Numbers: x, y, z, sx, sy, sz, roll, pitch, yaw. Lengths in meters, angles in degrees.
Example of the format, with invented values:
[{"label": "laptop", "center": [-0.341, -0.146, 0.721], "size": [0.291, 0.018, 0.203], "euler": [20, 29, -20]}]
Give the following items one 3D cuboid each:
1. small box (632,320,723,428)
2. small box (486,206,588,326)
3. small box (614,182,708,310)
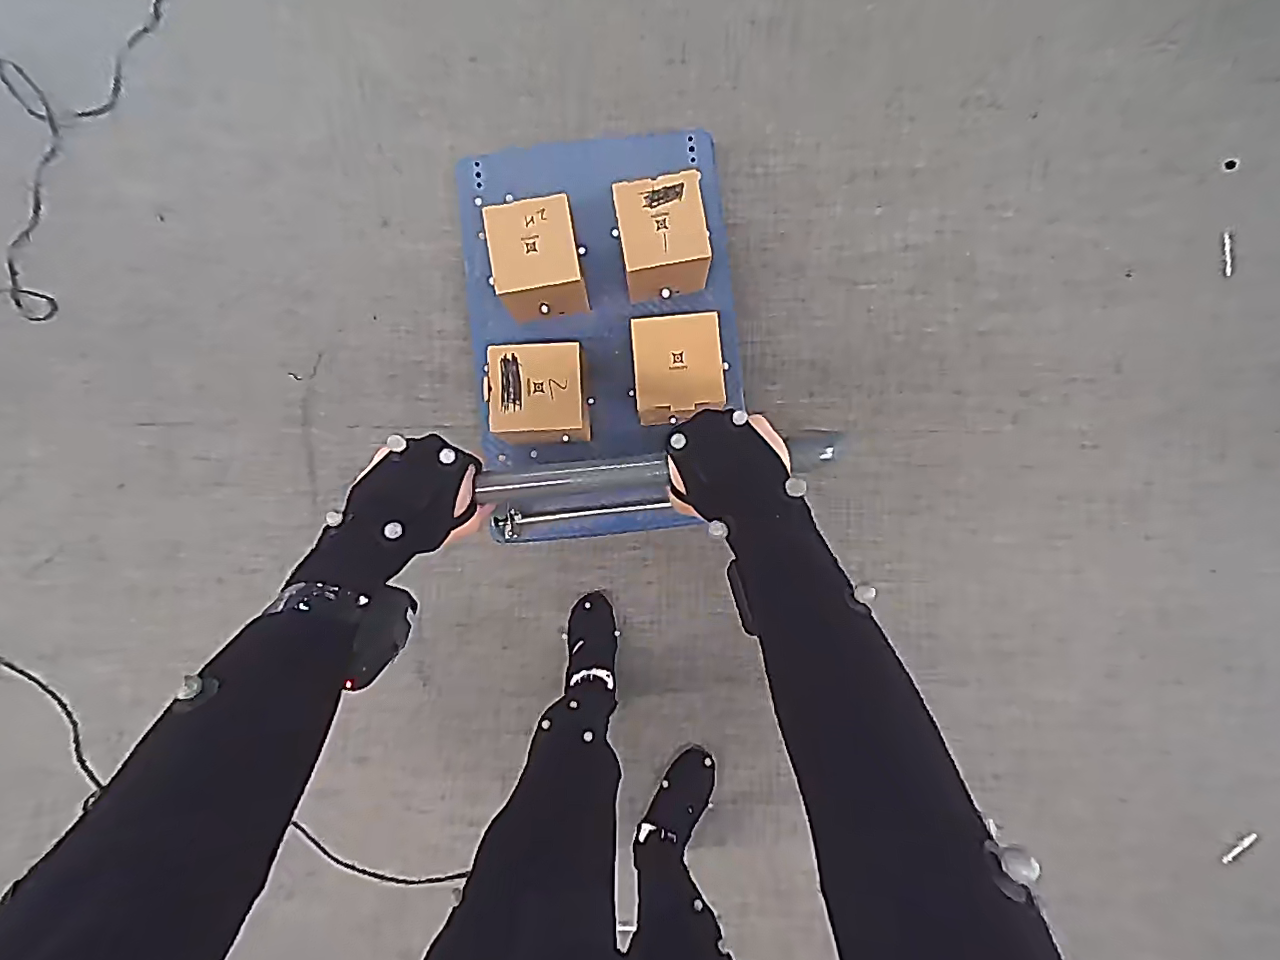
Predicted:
[{"label": "small box", "center": [0.071, -0.211, 1.112], "size": [0.168, 0.176, 0.179], "euler": [-5, 87, 0]}, {"label": "small box", "center": [-0.207, -0.434, 1.130], "size": [0.168, 0.176, 0.179], "euler": [-10, 86, 0]}, {"label": "small box", "center": [0.041, -0.479, 1.128], "size": [0.168, 0.176, 0.179], "euler": [-10, 87, 1]}]
